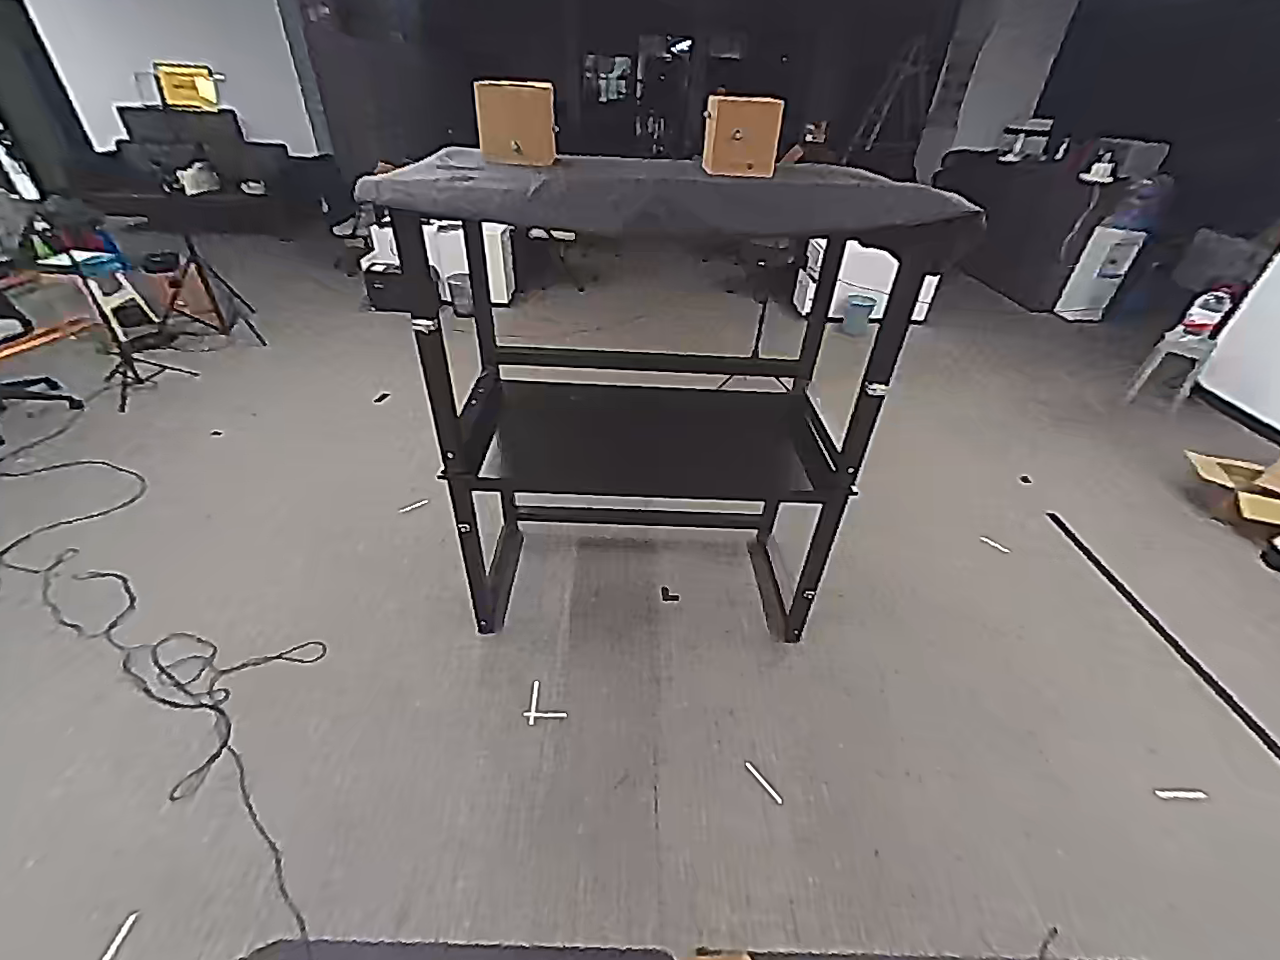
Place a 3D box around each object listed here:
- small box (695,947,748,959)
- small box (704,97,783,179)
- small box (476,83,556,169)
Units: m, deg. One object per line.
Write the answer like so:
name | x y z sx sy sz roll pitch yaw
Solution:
small box | 0.078 0.627 0.542 0.168 0.176 0.179 -28 65 -39
small box | 0.266 -0.899 1.421 0.168 0.176 0.179 1 37 -2
small box | -0.311 -0.910 1.392 0.179 0.176 0.168 1 37 -4
